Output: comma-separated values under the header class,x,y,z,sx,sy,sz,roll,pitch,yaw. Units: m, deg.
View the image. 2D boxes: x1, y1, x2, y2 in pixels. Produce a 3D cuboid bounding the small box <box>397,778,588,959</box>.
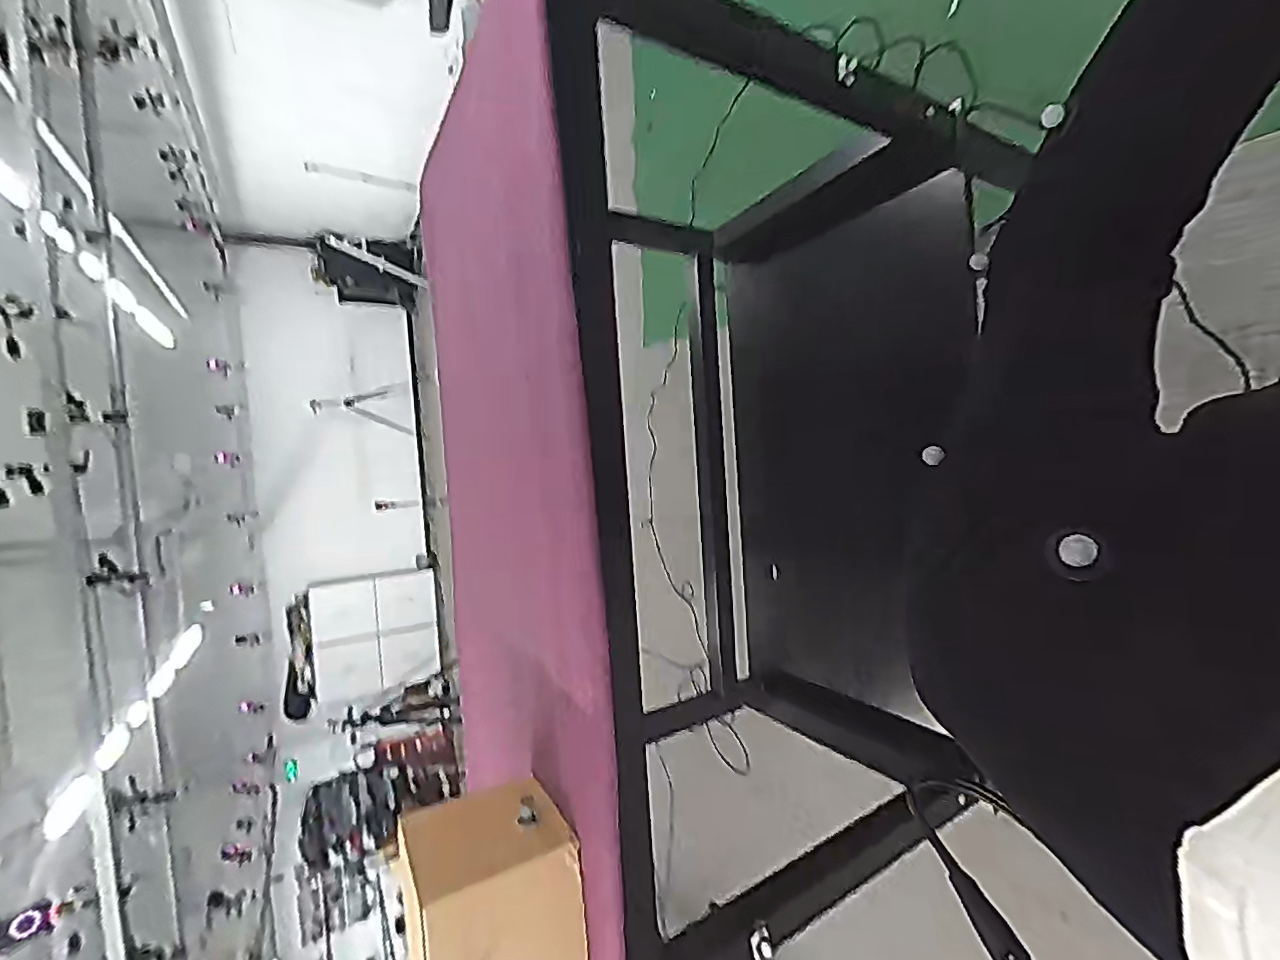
class,x,y,z,sx,sy,sz,roll,pitch,yaw
small box,-0.165,0.475,0.601,0.168,0.176,0.179,-2,91,59
